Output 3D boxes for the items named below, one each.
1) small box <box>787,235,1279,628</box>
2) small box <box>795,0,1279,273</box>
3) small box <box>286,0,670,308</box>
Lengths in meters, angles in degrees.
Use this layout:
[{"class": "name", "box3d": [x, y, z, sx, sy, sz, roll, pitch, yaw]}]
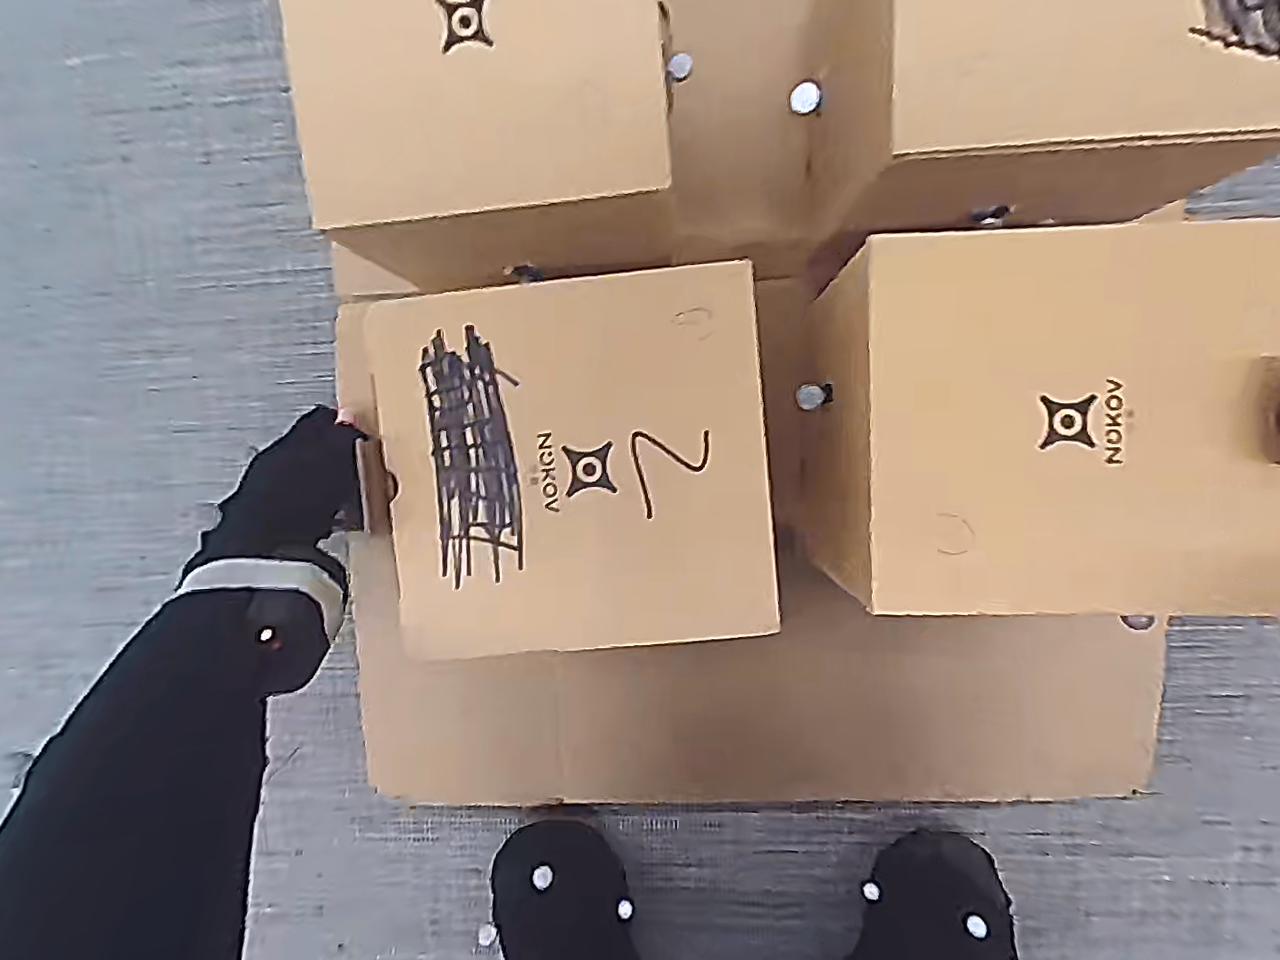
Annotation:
[{"class": "small box", "box3d": [0.186, -0.023, 0.309, 0.179, 0.176, 0.168, 0, 93, 3]}, {"class": "small box", "box3d": [0.194, -0.220, 0.296, 0.179, 0.176, 0.168, 0, 96, 5]}, {"class": "small box", "box3d": [-0.069, -0.206, 0.317, 0.168, 0.176, 0.179, -4, 94, 4]}]
